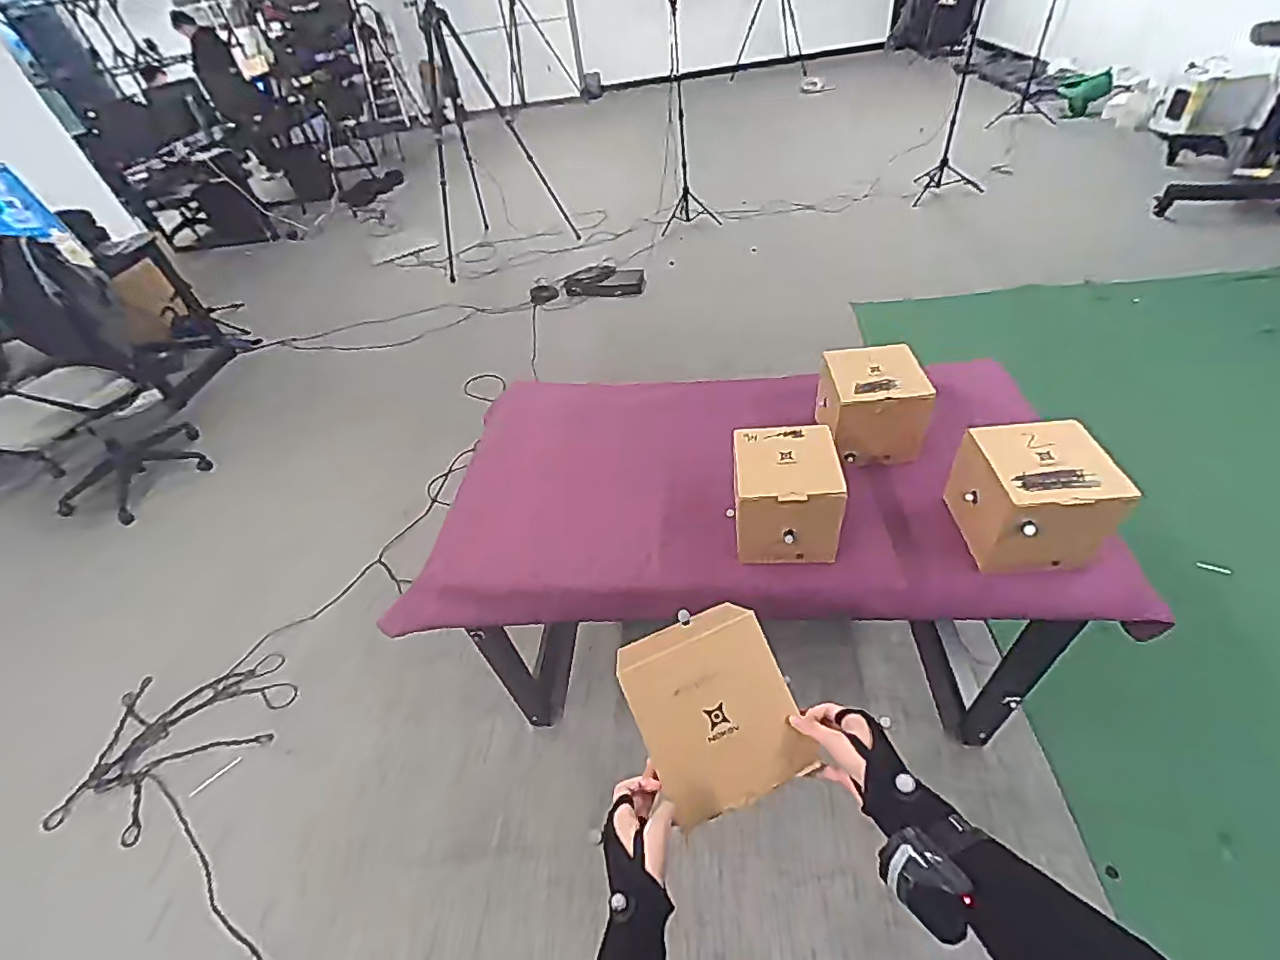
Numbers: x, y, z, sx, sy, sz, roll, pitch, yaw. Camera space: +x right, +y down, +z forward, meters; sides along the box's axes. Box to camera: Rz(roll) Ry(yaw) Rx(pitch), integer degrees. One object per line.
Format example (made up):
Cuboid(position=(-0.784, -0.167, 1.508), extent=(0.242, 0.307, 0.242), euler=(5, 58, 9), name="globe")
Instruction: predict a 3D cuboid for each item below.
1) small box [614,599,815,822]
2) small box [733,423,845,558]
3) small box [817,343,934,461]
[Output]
Cuboid(position=(0.077, 0.255, 0.647), extent=(0.168, 0.176, 0.179), euler=(-22, 82, -5), name="small box")
Cuboid(position=(0.249, 0.022, 0.939), extent=(0.168, 0.176, 0.179), euler=(-1, 44, 8), name="small box")
Cuboid(position=(0.456, -0.149, 1.076), extent=(0.168, 0.176, 0.179), euler=(-3, 44, 7), name="small box")
